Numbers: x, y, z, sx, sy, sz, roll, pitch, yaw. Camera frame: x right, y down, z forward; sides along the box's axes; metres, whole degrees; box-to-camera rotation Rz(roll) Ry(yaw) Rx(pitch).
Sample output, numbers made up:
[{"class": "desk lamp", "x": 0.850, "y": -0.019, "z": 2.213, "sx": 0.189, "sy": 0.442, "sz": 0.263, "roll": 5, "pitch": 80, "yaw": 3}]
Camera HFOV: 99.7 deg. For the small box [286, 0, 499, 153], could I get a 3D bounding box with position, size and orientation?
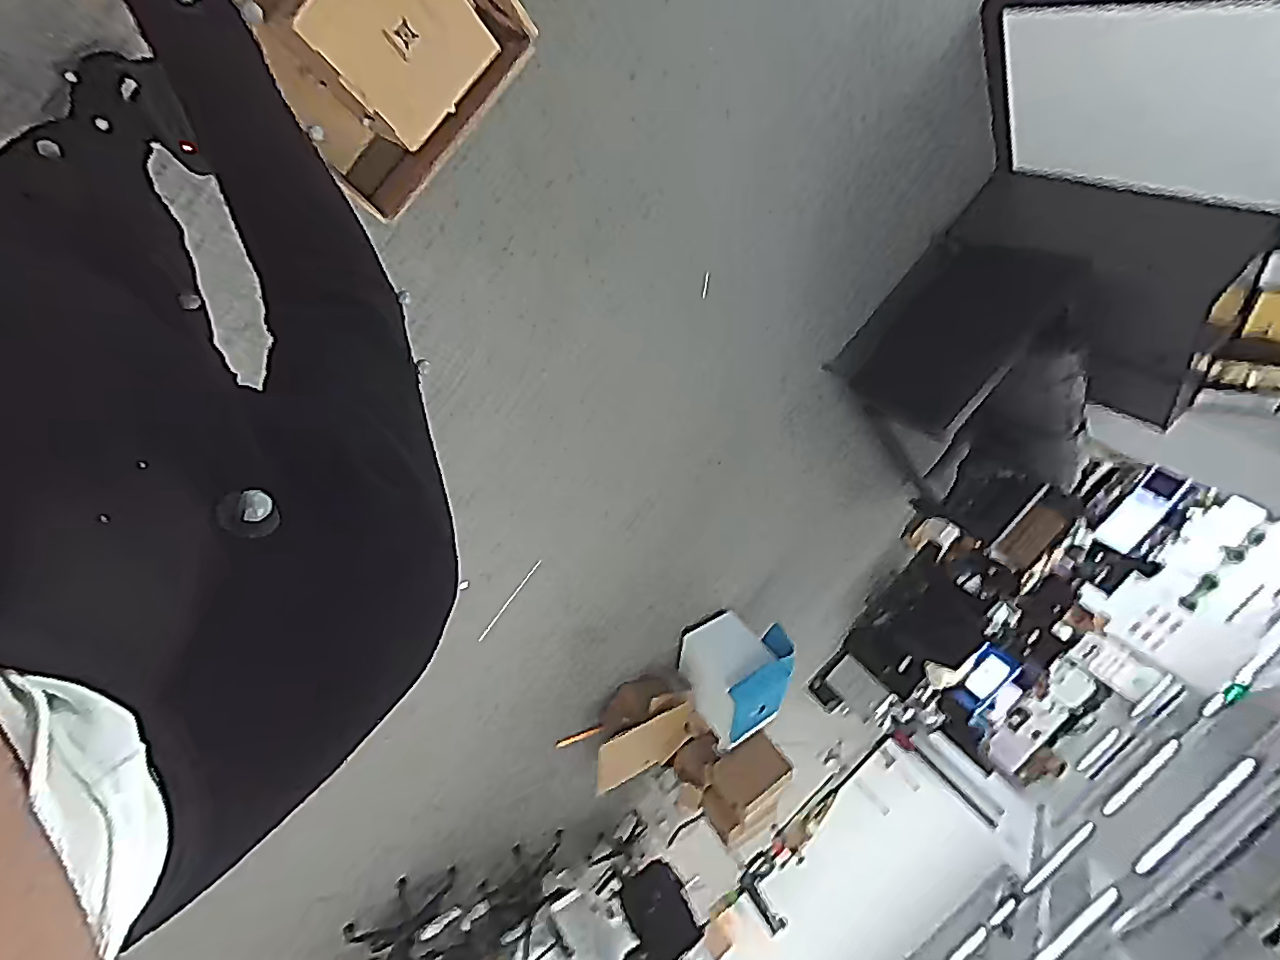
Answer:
[{"class": "small box", "x": -0.319, "y": -0.562, "z": 0.690, "sx": 0.179, "sy": 0.176, "sz": 0.168, "roll": -48, "pitch": 140, "yaw": 3}]
